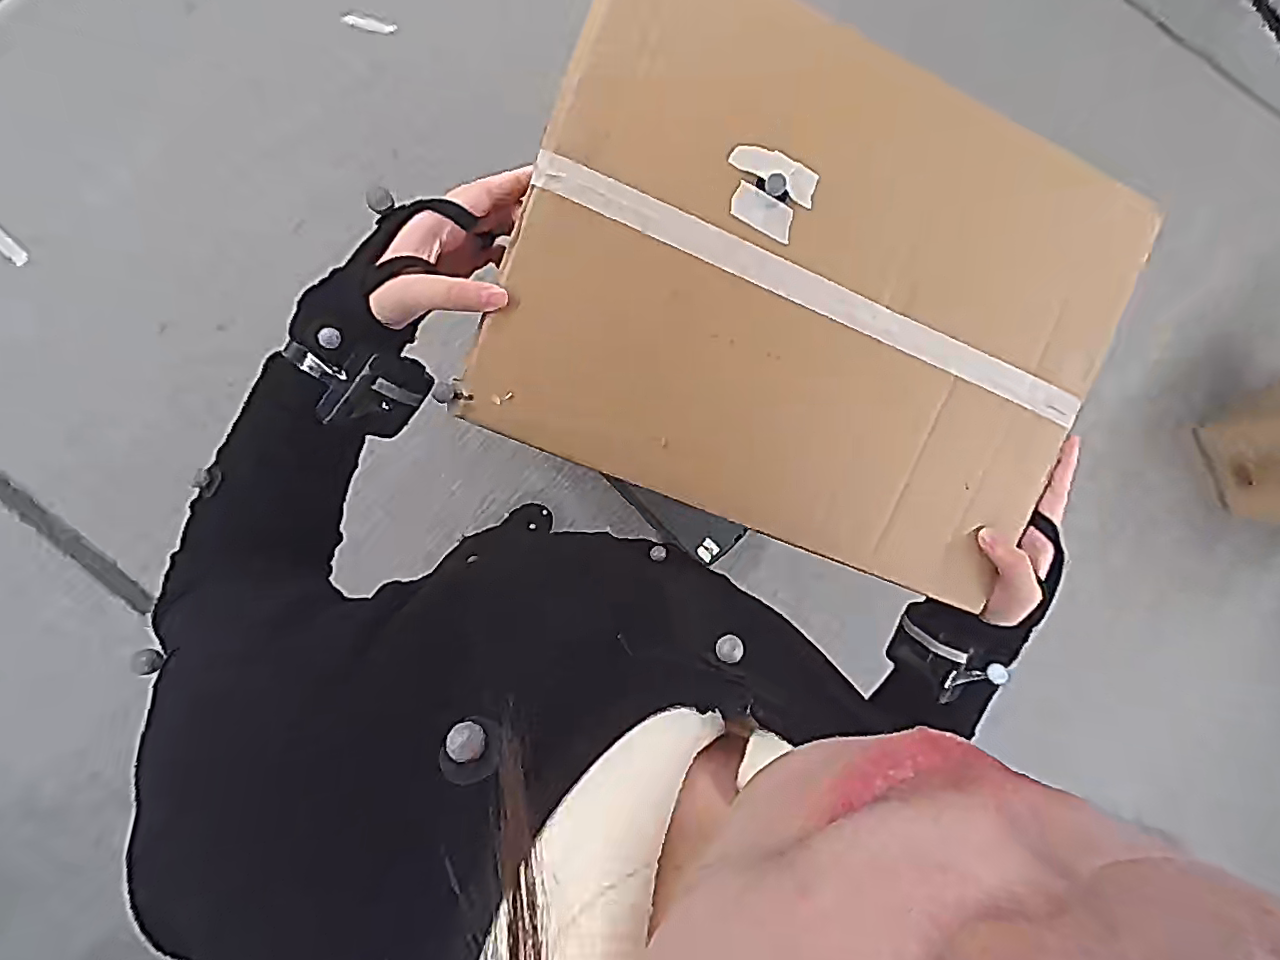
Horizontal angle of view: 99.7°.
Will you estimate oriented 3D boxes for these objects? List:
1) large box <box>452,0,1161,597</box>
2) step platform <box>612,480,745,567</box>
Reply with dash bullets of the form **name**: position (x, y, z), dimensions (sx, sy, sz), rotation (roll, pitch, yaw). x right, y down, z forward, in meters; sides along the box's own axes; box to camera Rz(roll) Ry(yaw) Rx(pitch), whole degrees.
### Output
- **large box**: position (0.103, -0.138, 0.497), dimensions (0.408, 0.320, 0.320), rotation (20, 95, -9)
- **step platform**: position (0.010, -0.096, 1.436), dimensions (0.286, 0.204, 0.684), rotation (-41, 95, -12)
